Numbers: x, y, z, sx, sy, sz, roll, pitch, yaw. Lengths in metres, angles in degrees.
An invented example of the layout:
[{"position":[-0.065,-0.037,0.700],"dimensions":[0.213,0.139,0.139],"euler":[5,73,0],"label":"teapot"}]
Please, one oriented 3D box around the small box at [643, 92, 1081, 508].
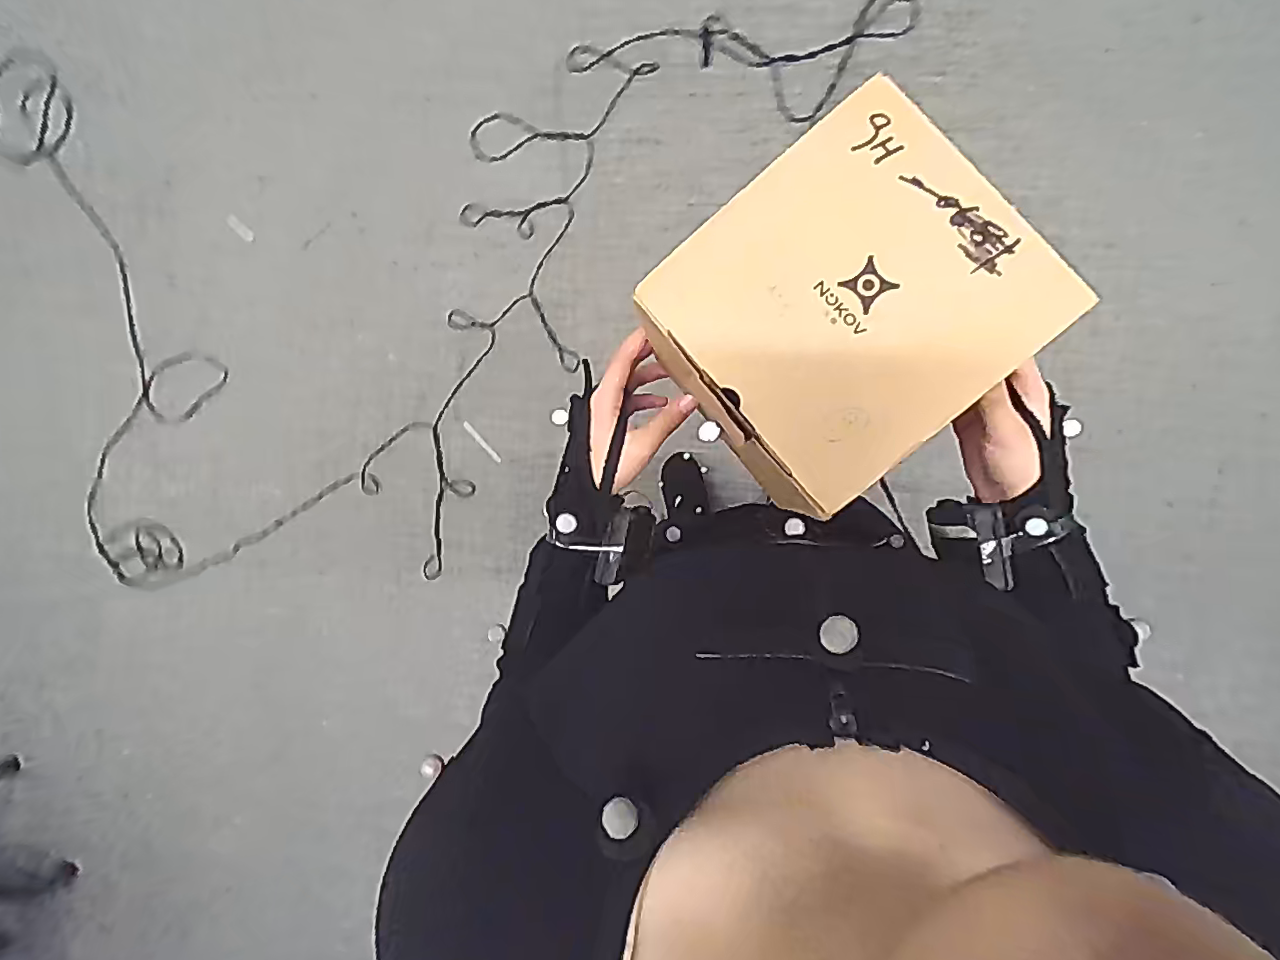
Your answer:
[{"position":[0.127,-0.097,0.376],"dimensions":[0.179,0.176,0.168],"euler":[-40,85,5],"label":"small box"}]
